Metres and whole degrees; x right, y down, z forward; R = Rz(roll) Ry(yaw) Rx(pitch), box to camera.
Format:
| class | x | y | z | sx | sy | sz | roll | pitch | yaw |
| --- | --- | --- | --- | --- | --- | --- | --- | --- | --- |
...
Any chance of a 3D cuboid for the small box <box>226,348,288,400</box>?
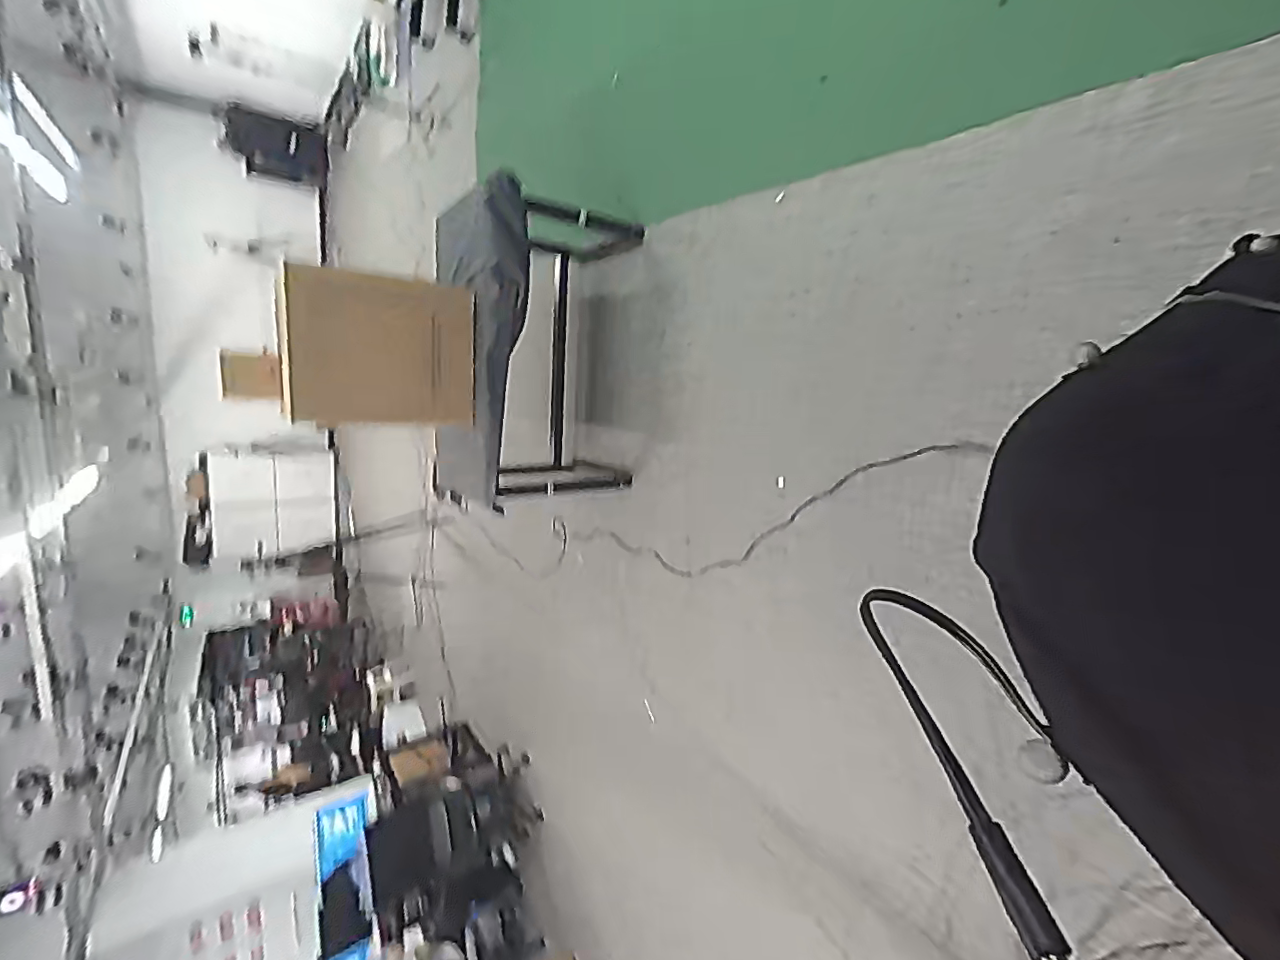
| class | x | y | z | sx | sy | sz | roll | pitch | yaw |
| --- | --- | --- | --- | --- | --- | --- | --- | --- | --- |
| small box | -1.329 | -0.367 | 1.881 | 0.179 | 0.176 | 0.168 | 17 | 107 | 53 |
